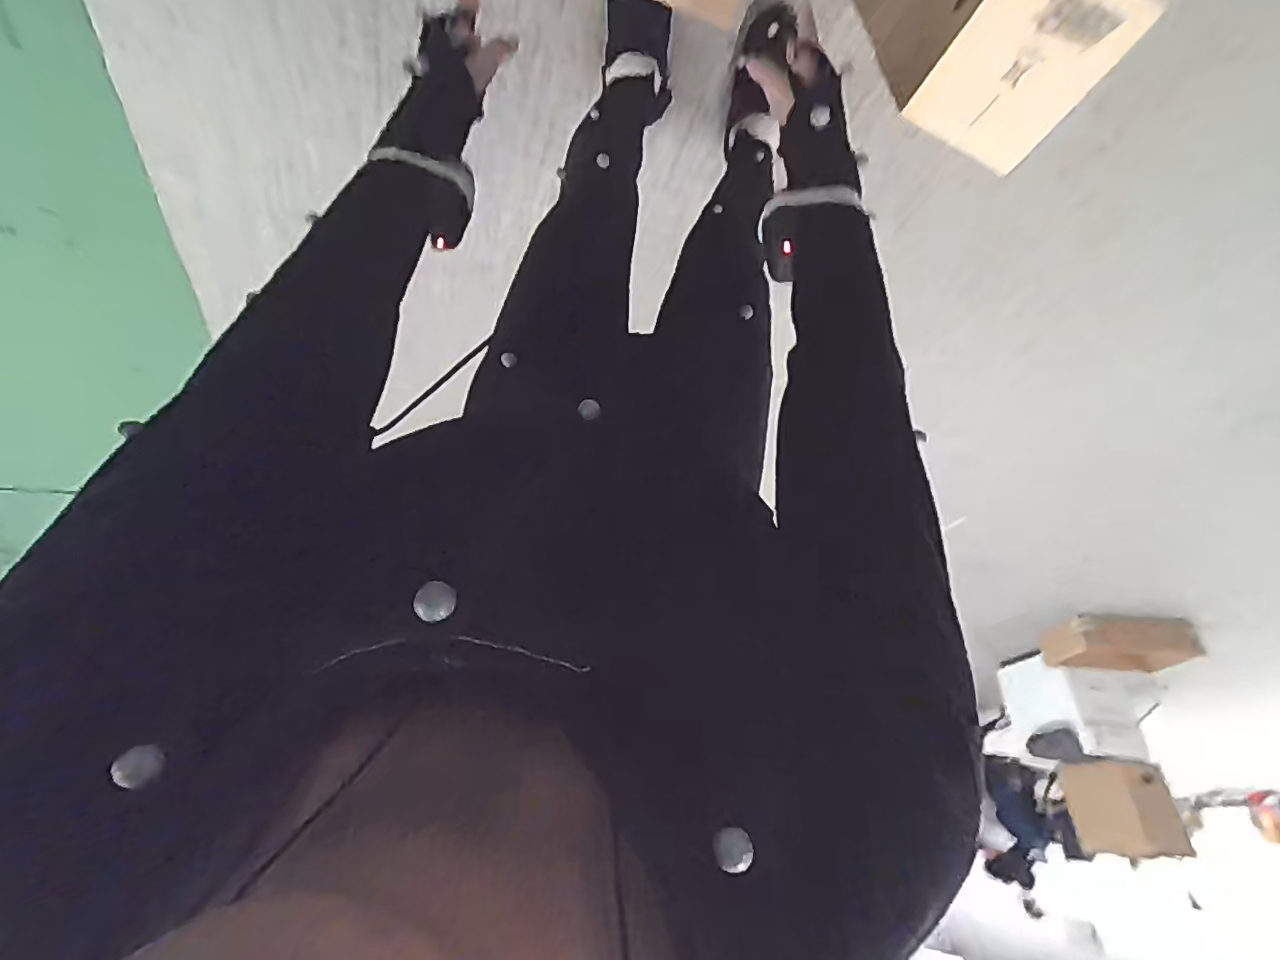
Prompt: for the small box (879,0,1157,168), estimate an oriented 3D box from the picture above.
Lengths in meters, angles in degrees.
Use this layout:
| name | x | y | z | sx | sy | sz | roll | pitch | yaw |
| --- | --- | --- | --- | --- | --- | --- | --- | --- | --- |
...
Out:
| name | x | y | z | sx | sy | sz | roll | pitch | yaw |
| --- | --- | --- | --- | --- | --- | --- | --- | --- | --- |
| small box | 0.400 | -0.508 | 0.610 | 0.168 | 0.176 | 0.179 | 16 | 145 | -16 |
